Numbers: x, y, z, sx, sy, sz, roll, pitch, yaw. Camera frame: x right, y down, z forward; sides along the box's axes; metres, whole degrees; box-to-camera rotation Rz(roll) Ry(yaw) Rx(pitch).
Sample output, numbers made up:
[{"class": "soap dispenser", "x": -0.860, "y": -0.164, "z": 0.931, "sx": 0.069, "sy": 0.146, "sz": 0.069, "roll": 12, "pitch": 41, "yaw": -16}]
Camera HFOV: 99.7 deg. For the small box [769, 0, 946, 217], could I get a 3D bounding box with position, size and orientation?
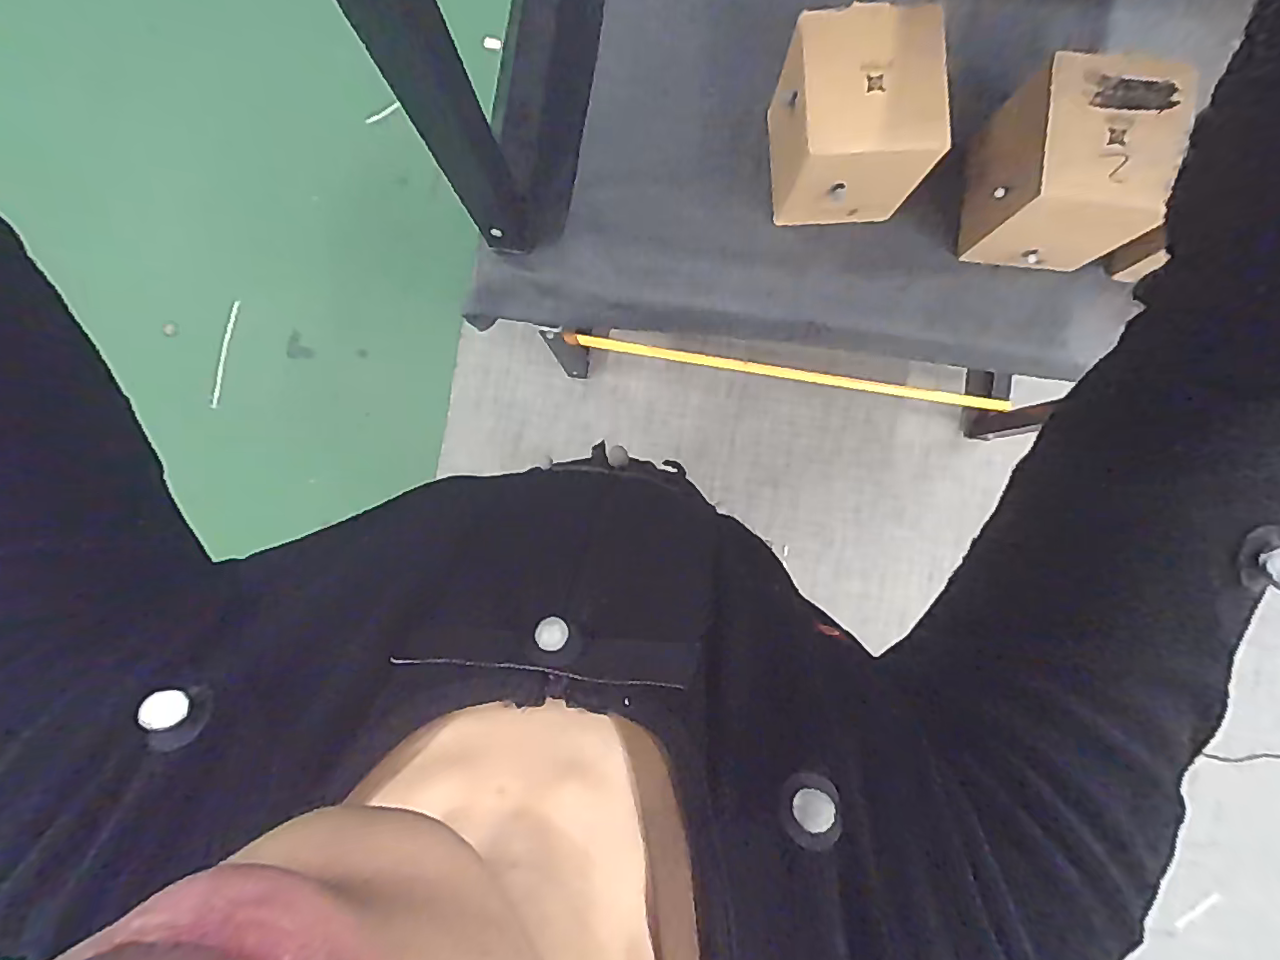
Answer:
[{"class": "small box", "x": 0.269, "y": -0.462, "z": 0.702, "sx": 0.168, "sy": 0.176, "sz": 0.179, "roll": -2, "pitch": 88, "yaw": 1}]
